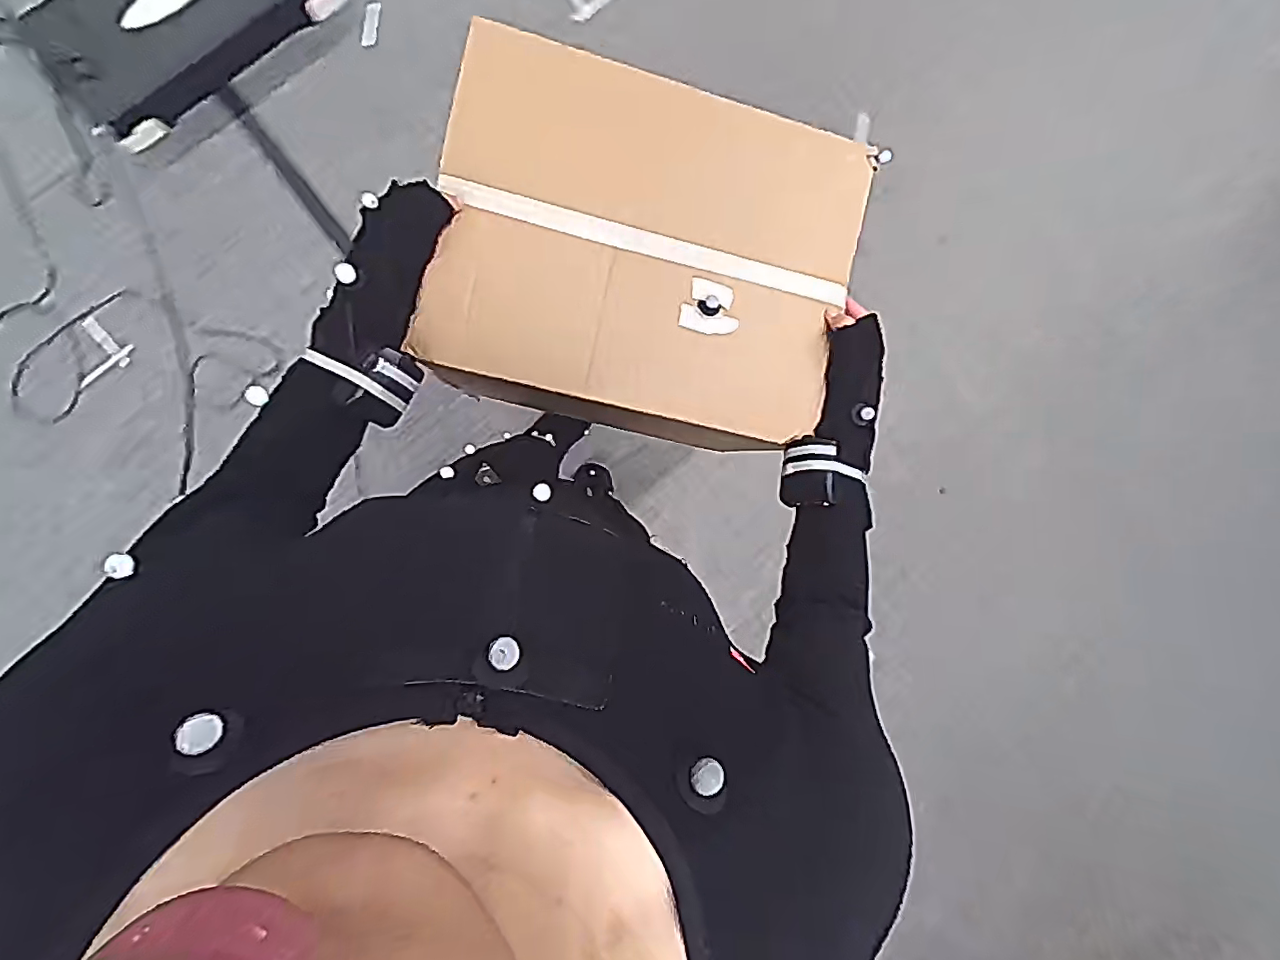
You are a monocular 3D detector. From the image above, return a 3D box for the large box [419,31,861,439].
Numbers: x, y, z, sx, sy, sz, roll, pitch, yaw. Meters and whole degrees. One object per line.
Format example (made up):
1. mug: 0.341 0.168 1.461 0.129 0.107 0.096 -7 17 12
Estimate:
1. large box: -0.012 -0.242 0.678 0.408 0.320 0.320 11 91 -8
